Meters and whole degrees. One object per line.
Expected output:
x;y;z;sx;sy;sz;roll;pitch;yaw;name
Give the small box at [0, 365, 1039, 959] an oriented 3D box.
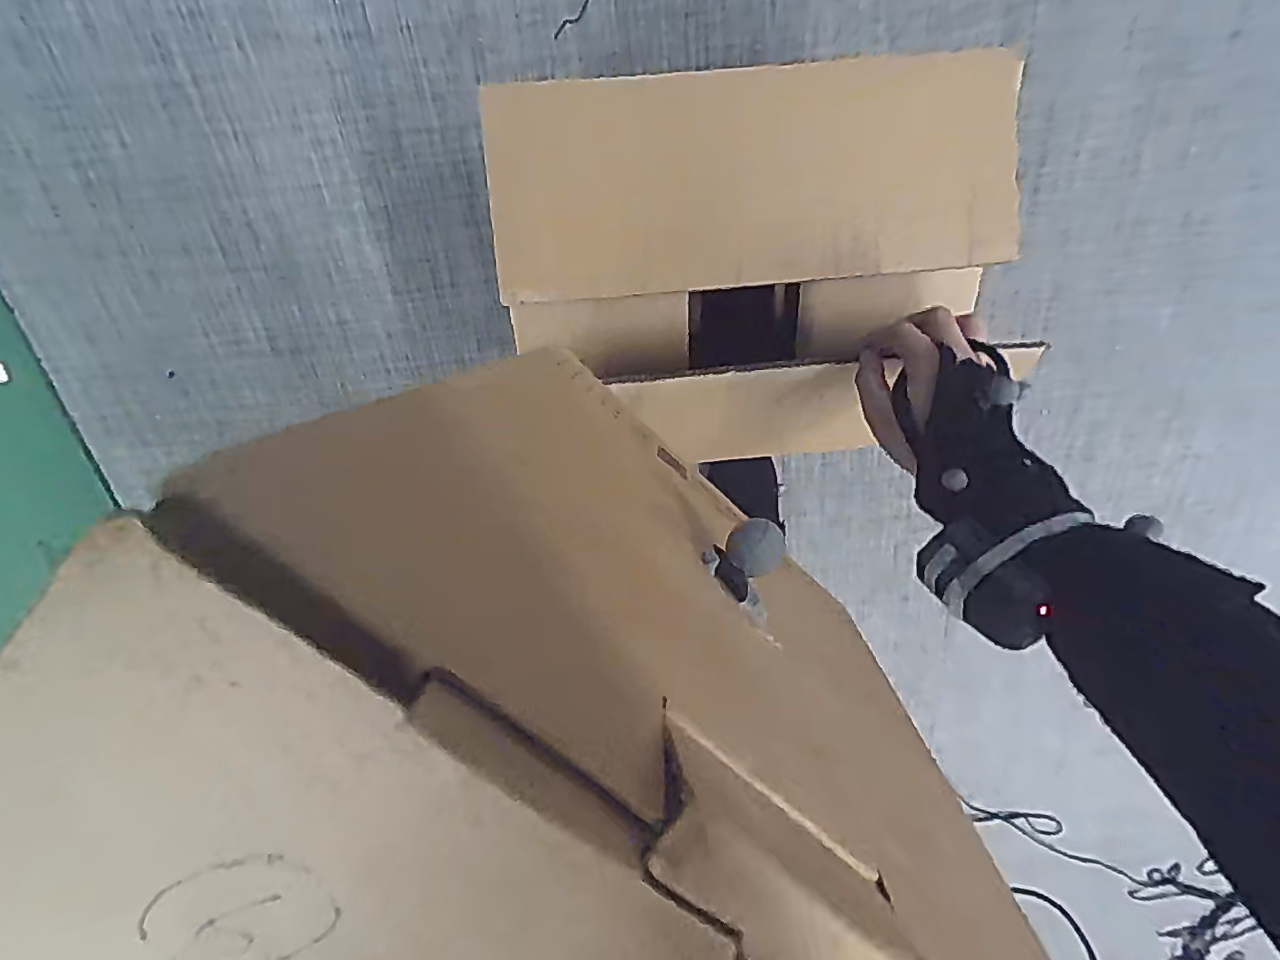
-0.037;0.086;0.157;0.168;0.176;0.179;42;105;-10;small box
